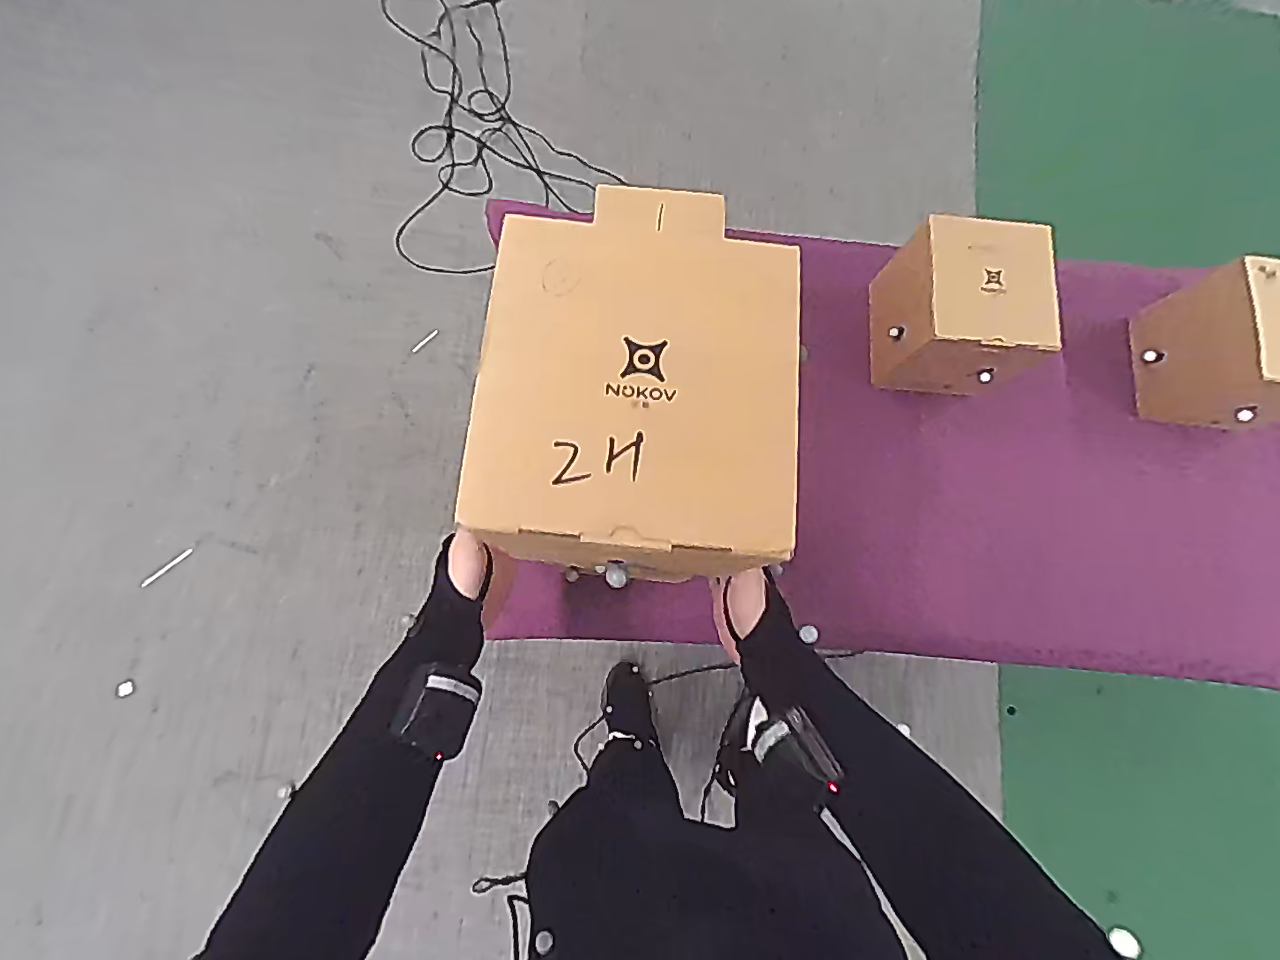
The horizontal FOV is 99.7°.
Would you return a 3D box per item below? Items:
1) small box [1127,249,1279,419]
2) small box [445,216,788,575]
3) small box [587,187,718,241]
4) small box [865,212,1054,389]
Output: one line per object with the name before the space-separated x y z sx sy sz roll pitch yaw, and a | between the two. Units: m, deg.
small box | 0.846 -0.194 0.767 0.168 0.176 0.179 5 79 -1
small box | -0.010 -0.036 0.358 0.168 0.176 0.179 5 77 -1
small box | 0.010 -0.264 0.743 0.168 0.176 0.179 3 78 -3
small box | 0.432 -0.239 0.759 0.168 0.176 0.179 4 78 -2
